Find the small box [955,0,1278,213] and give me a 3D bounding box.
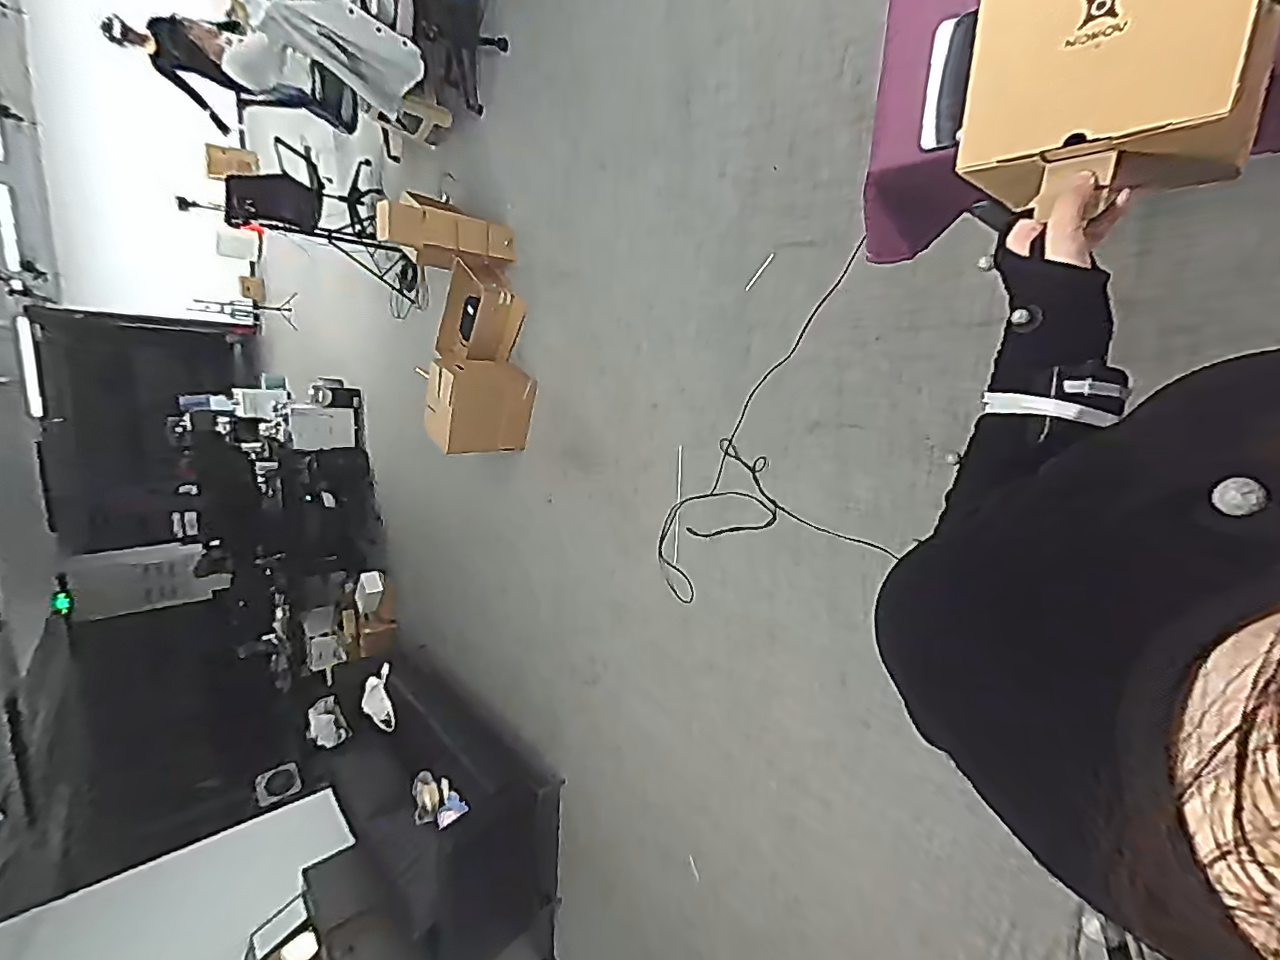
[{"bbox_3d":[0.390,-0.340,0.445,0.168,0.176,0.179,16,110,46],"label":"small box"}]
